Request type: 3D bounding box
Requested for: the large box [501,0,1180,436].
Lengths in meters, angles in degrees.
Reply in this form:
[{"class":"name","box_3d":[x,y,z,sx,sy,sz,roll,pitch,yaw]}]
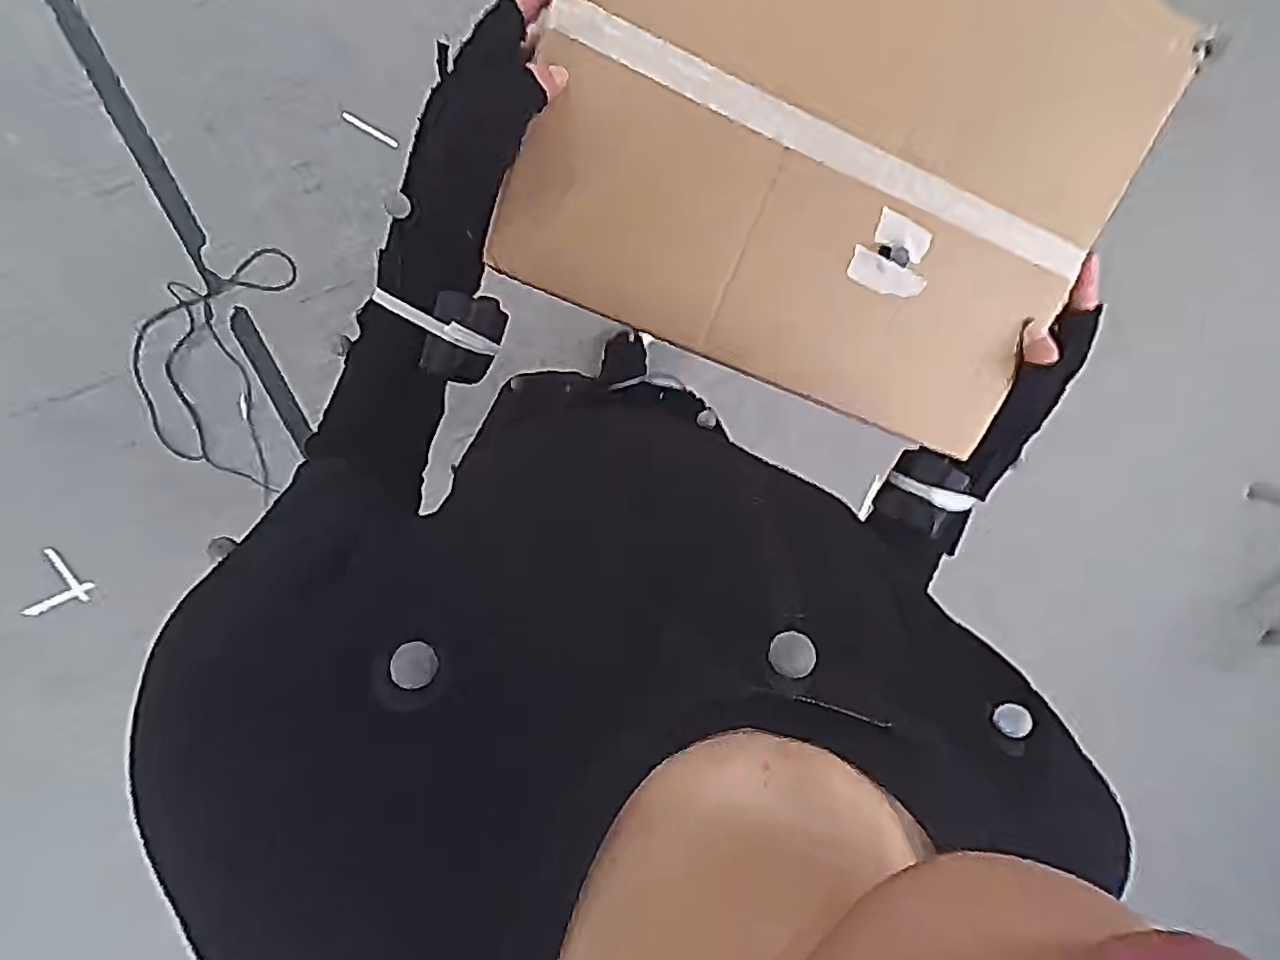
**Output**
[{"class":"large box","box_3d":[0.123,-0.279,0.518,0.408,0.320,0.320,19,107,-11]}]
